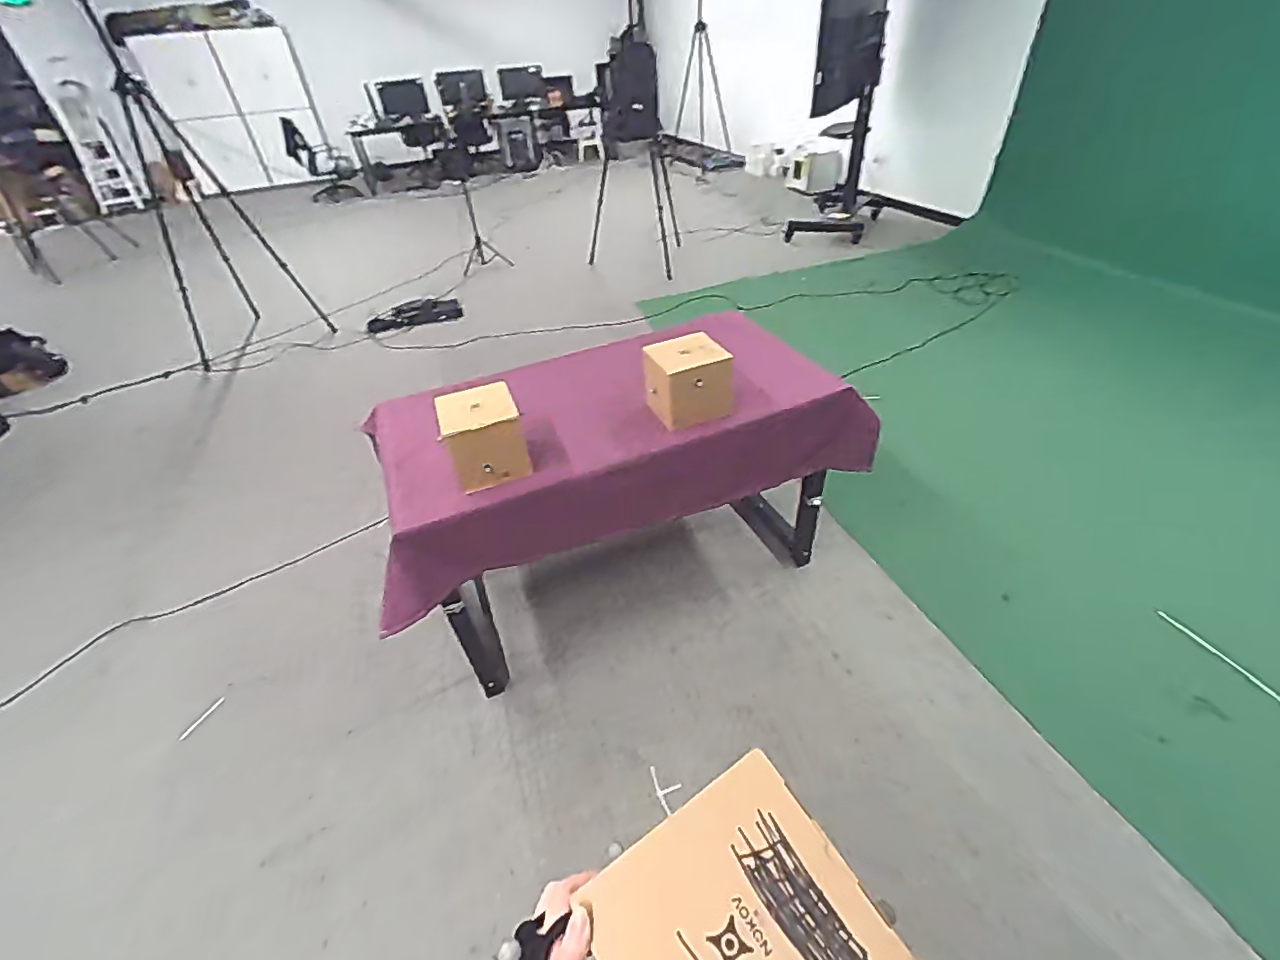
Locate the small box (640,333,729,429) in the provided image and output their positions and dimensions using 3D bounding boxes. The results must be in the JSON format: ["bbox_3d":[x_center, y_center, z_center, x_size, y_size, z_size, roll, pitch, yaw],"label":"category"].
[{"bbox_3d":[0.115,-0.252,1.389,0.179,0.176,0.168,-18,42,-14],"label":"small box"}]

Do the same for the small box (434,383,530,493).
[{"bbox_3d":[-0.367,-0.099,1.261,0.168,0.176,0.179,-18,42,-15],"label":"small box"}]
